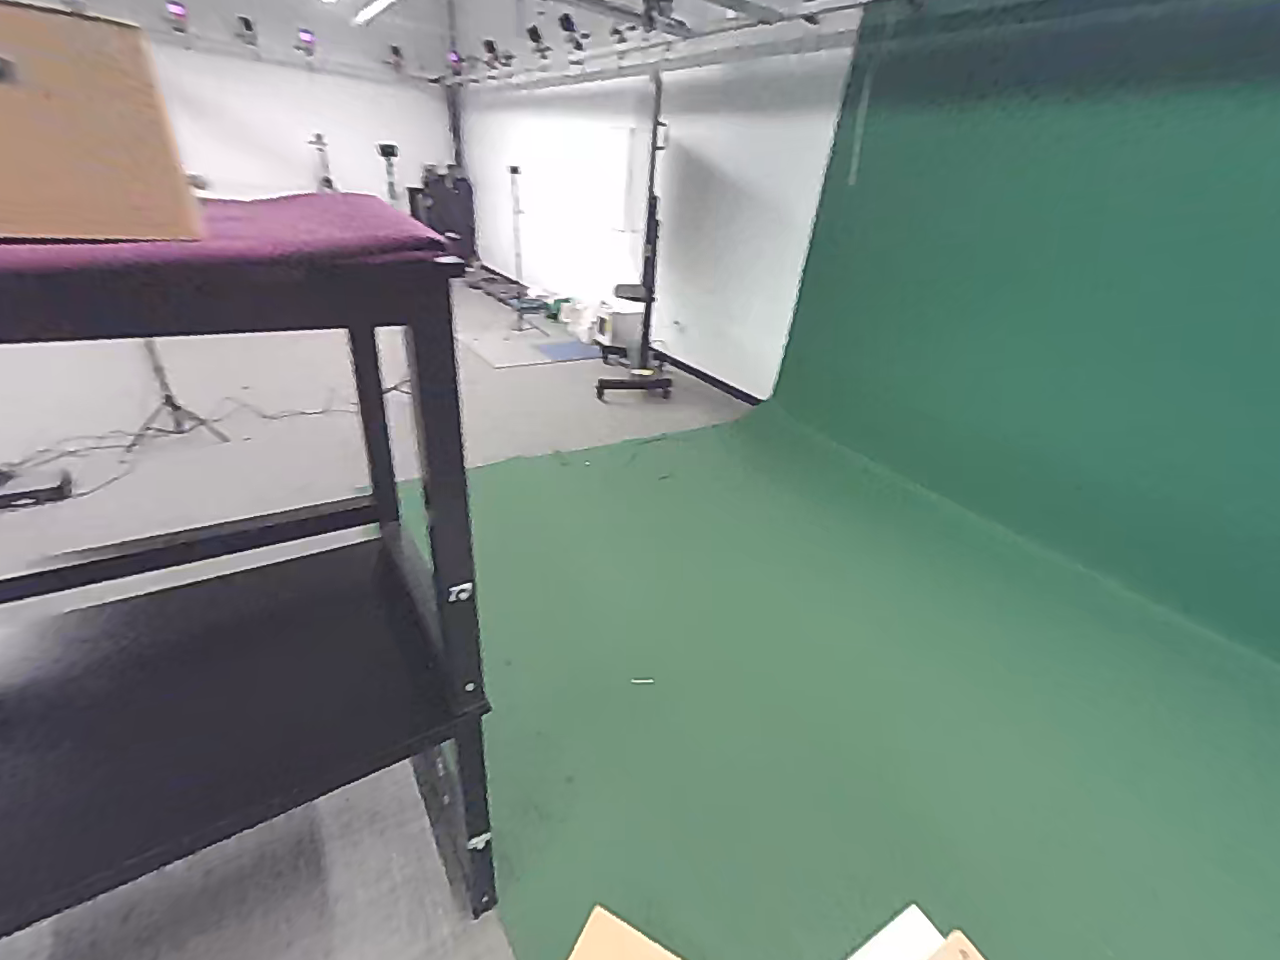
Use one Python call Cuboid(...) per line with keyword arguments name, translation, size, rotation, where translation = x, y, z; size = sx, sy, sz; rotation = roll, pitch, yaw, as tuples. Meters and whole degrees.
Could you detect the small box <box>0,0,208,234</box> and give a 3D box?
Cuboid(name="small box", translation=(-0.530, -0.321, 0.493), size=(0.179, 0.176, 0.168), rotation=(-14, 32, -32))
